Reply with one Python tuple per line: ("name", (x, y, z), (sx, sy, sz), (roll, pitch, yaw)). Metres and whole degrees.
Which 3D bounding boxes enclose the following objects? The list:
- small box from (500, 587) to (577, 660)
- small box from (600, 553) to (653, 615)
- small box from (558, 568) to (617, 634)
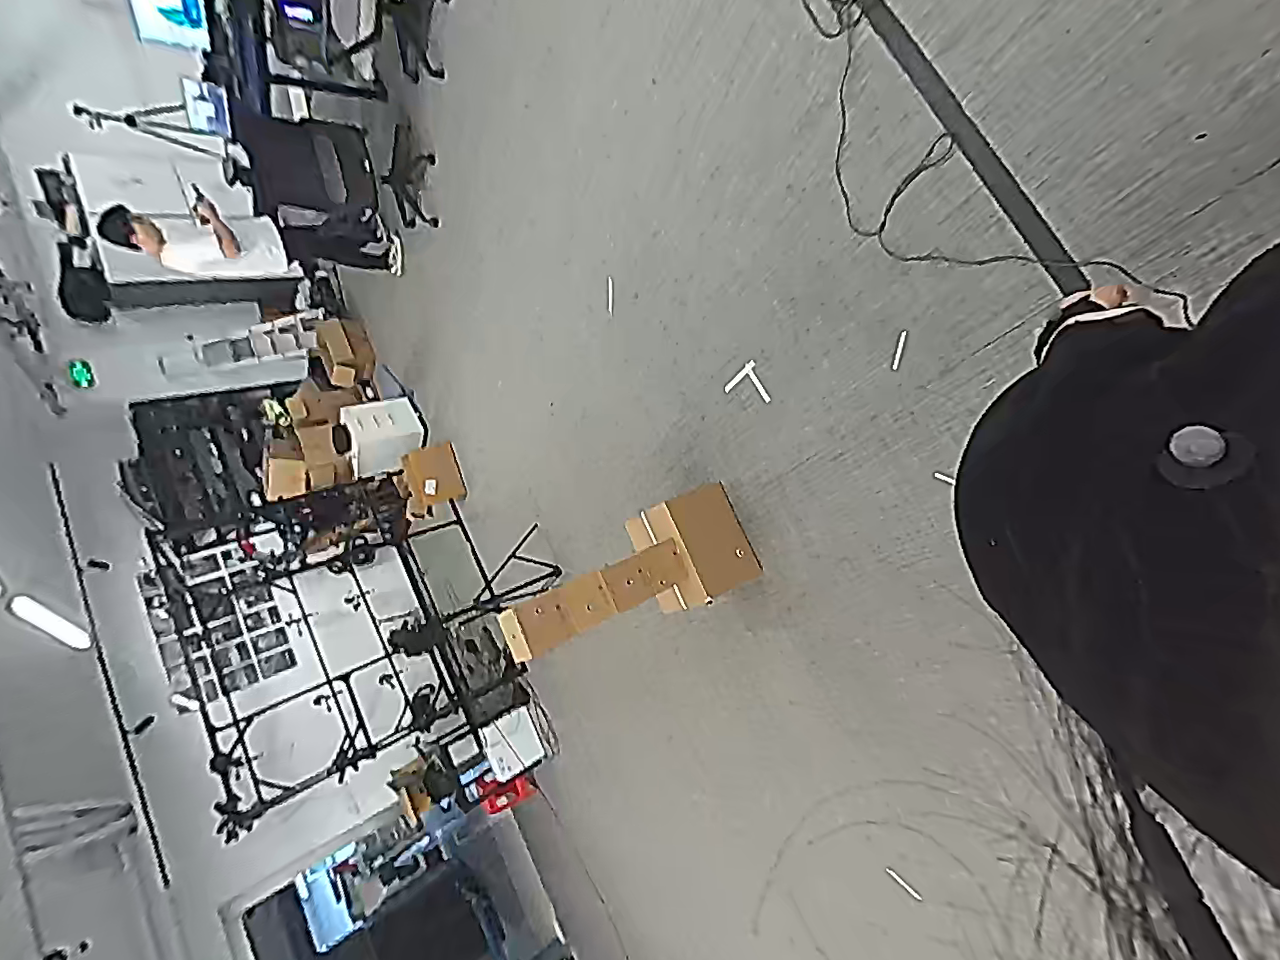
("small box", (-0.324, 0.461, 1.741), (0.179, 0.176, 0.168), (-38, 74, 54))
("small box", (-0.074, 0.374, 1.930), (0.179, 0.176, 0.168), (-33, 79, 53))
("small box", (-0.197, 0.415, 1.832), (0.179, 0.176, 0.168), (-37, 76, 53))
